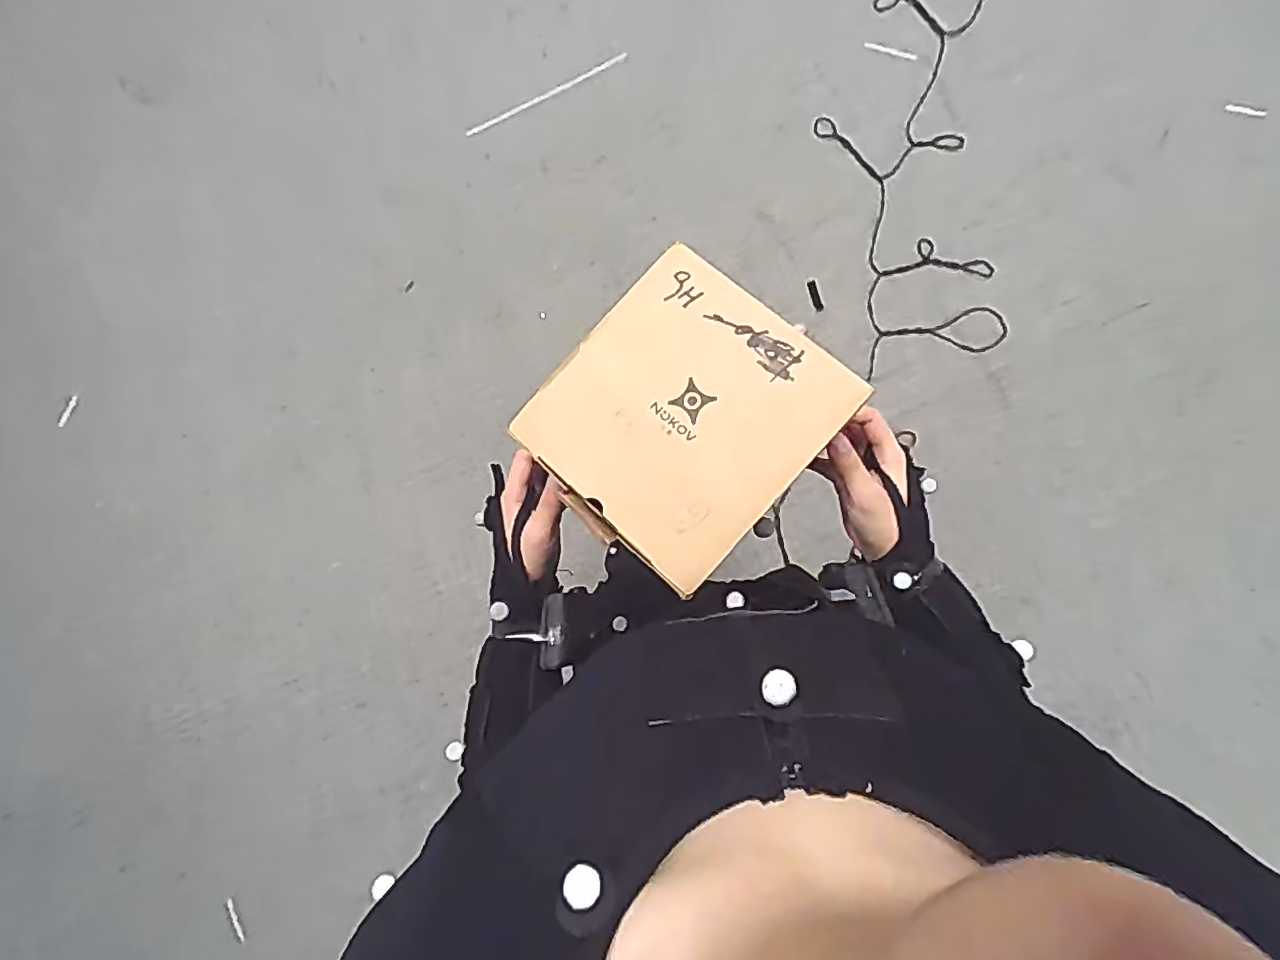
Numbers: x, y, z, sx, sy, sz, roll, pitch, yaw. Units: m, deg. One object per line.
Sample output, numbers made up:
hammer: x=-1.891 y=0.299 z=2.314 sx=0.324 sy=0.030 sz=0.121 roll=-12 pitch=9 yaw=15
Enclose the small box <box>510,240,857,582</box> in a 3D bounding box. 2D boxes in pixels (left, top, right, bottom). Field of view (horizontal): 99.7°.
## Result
small box: x=0.037 y=-0.039 z=0.432 sx=0.168 sy=0.176 sz=0.179 roll=41 pitch=90 yaw=12
